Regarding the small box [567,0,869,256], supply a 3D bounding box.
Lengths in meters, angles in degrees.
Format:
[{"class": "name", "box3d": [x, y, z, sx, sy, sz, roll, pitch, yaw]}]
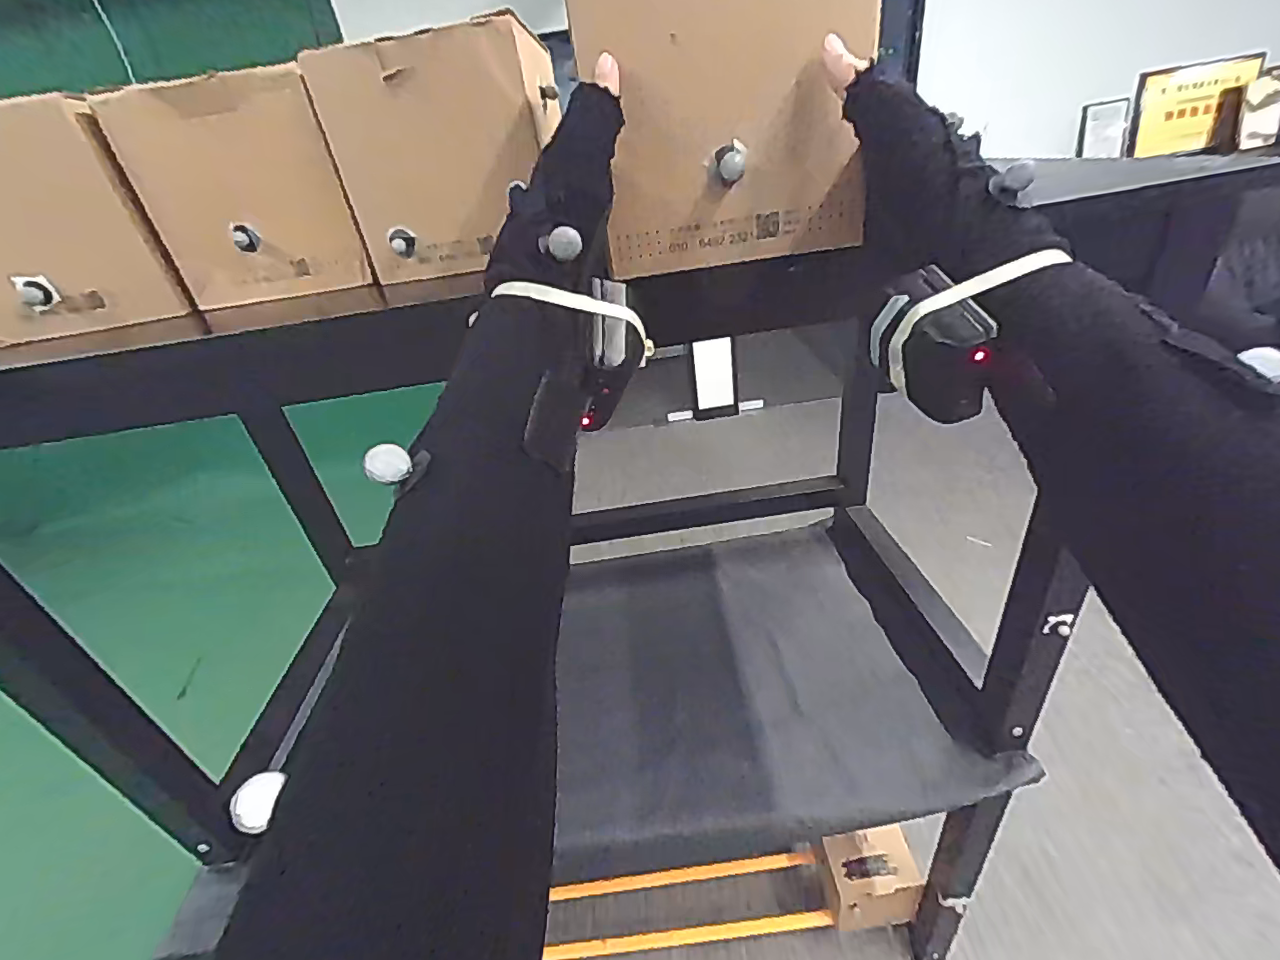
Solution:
[{"class": "small box", "box3d": [0.047, -0.265, 0.383, 0.168, 0.176, 0.179, -7, 31, 5]}]
